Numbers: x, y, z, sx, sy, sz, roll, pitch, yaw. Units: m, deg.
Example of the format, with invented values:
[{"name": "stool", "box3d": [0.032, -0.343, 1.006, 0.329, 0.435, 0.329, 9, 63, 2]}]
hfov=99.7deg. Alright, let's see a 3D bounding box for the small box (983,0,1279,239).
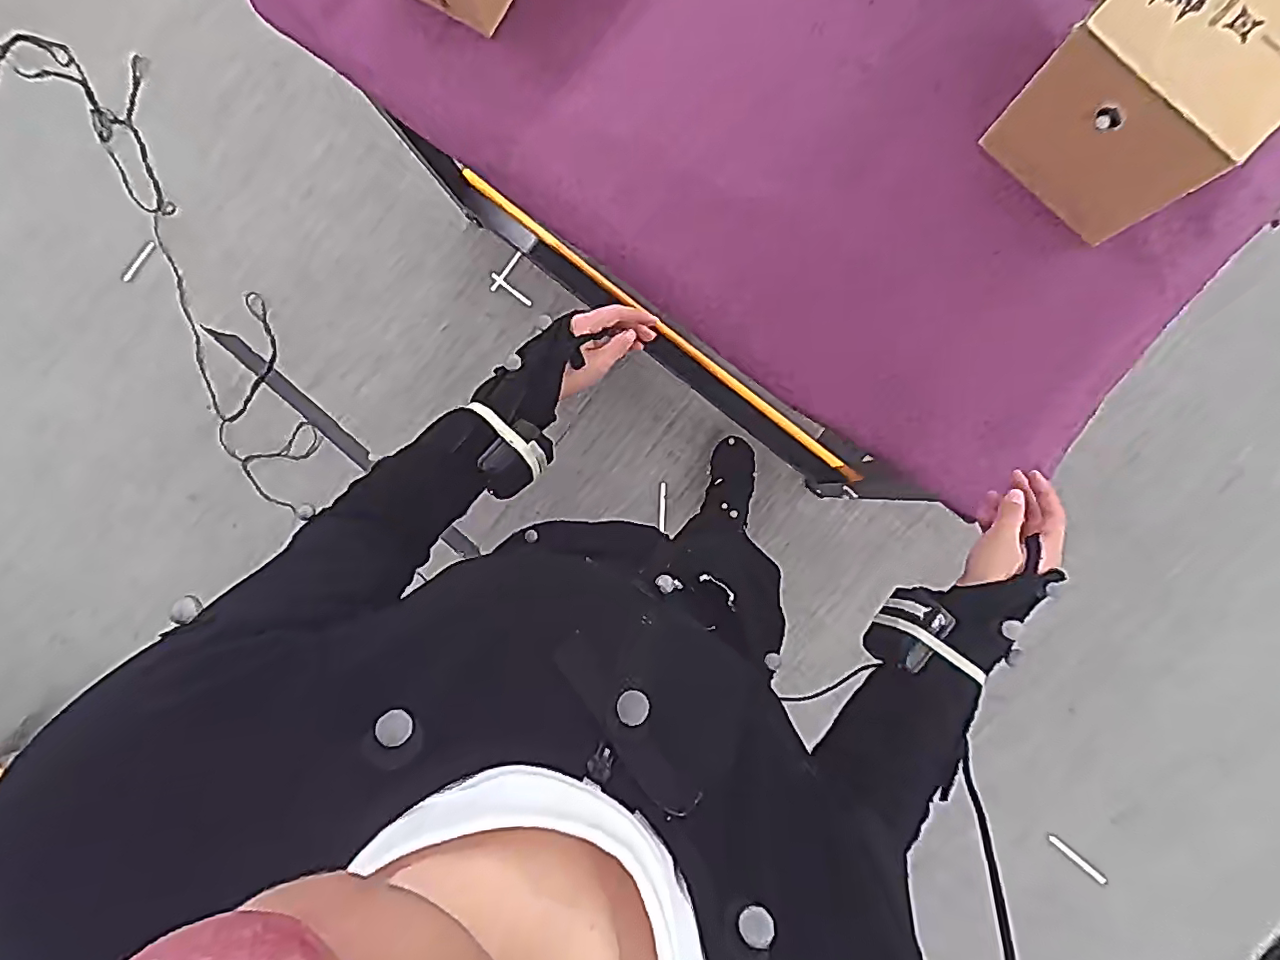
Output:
[{"name": "small box", "box3d": [0.490, -0.377, 0.528, 0.179, 0.176, 0.168, 45, 95, 3]}]
